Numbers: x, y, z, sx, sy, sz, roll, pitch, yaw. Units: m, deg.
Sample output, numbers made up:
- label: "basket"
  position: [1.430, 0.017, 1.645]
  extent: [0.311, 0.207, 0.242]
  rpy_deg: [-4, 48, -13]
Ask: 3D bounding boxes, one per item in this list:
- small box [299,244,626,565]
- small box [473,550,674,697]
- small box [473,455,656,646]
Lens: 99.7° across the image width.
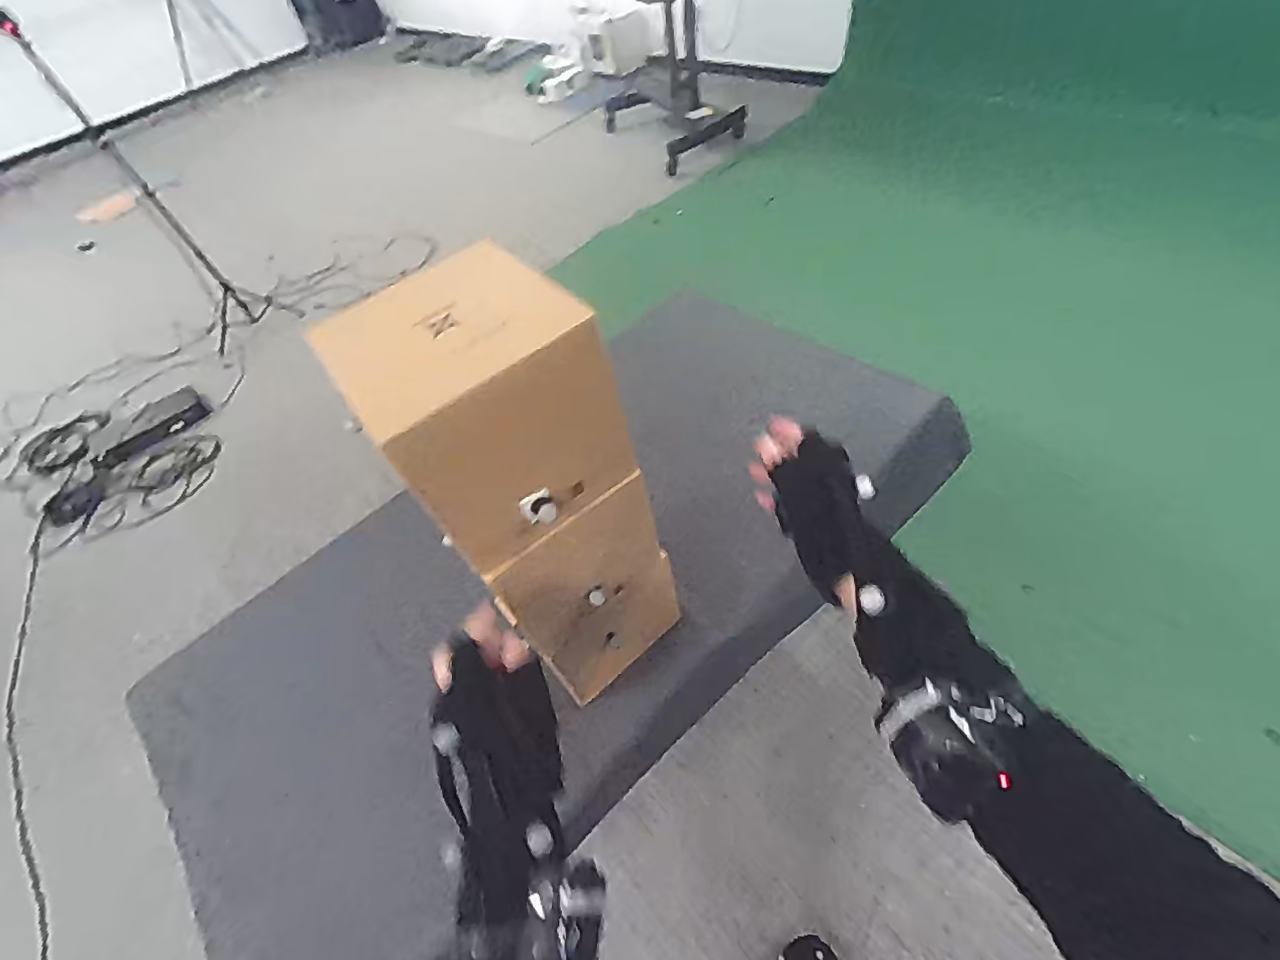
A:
- label: "small box"
  position: [-0.136, -0.059, 0.451]
  extent: [0.168, 0.176, 0.179]
  rpy_deg: [-37, 54, -16]
- label: "small box"
  position: [-0.075, 0.146, 0.698]
  extent: [0.179, 0.176, 0.168]
  rpy_deg: [-39, 54, -18]
- label: "small box"
  position: [-0.105, 0.041, 0.575]
  extent: [0.168, 0.176, 0.179]
  rpy_deg: [-38, 52, -18]
